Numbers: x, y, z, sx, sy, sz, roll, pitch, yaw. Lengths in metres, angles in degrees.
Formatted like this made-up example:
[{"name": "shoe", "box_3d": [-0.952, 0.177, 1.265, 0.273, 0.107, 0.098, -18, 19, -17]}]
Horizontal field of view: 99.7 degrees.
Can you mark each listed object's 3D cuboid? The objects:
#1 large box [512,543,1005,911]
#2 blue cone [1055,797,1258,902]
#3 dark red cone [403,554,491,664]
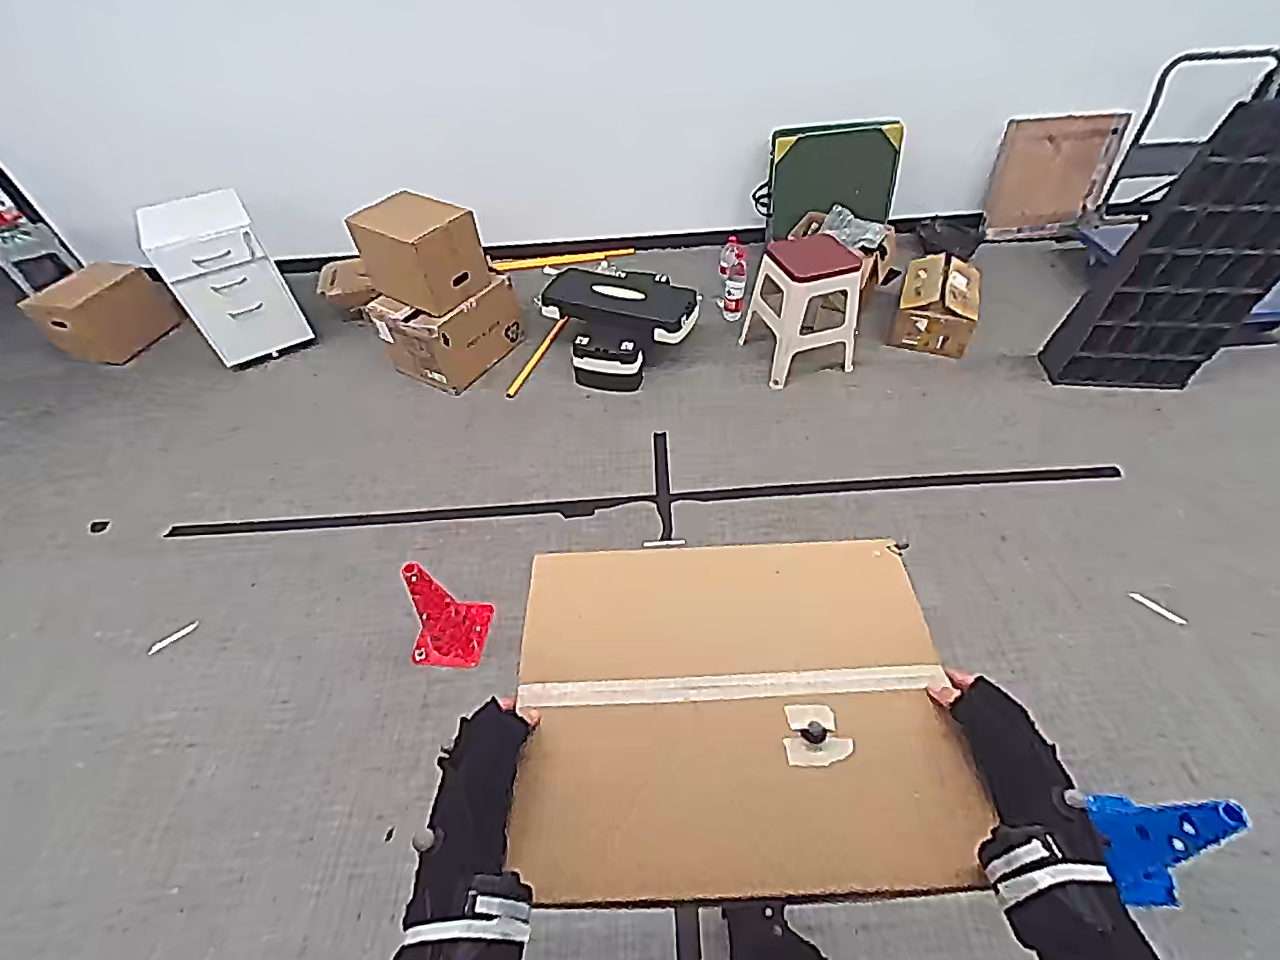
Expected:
[{"name": "large box", "box_3d": [0.092, 0.295, 0.635, 0.408, 0.320, 0.320, -2, 51, 0]}, {"name": "blue cone", "box_3d": [1.029, 0.694, 1.060, 0.192, 0.380, 0.193, 0, 48, 3]}, {"name": "dark red cone", "box_3d": [-0.553, 0.327, 1.451, 0.201, 0.394, 0.202, 2, 48, 4]}]
